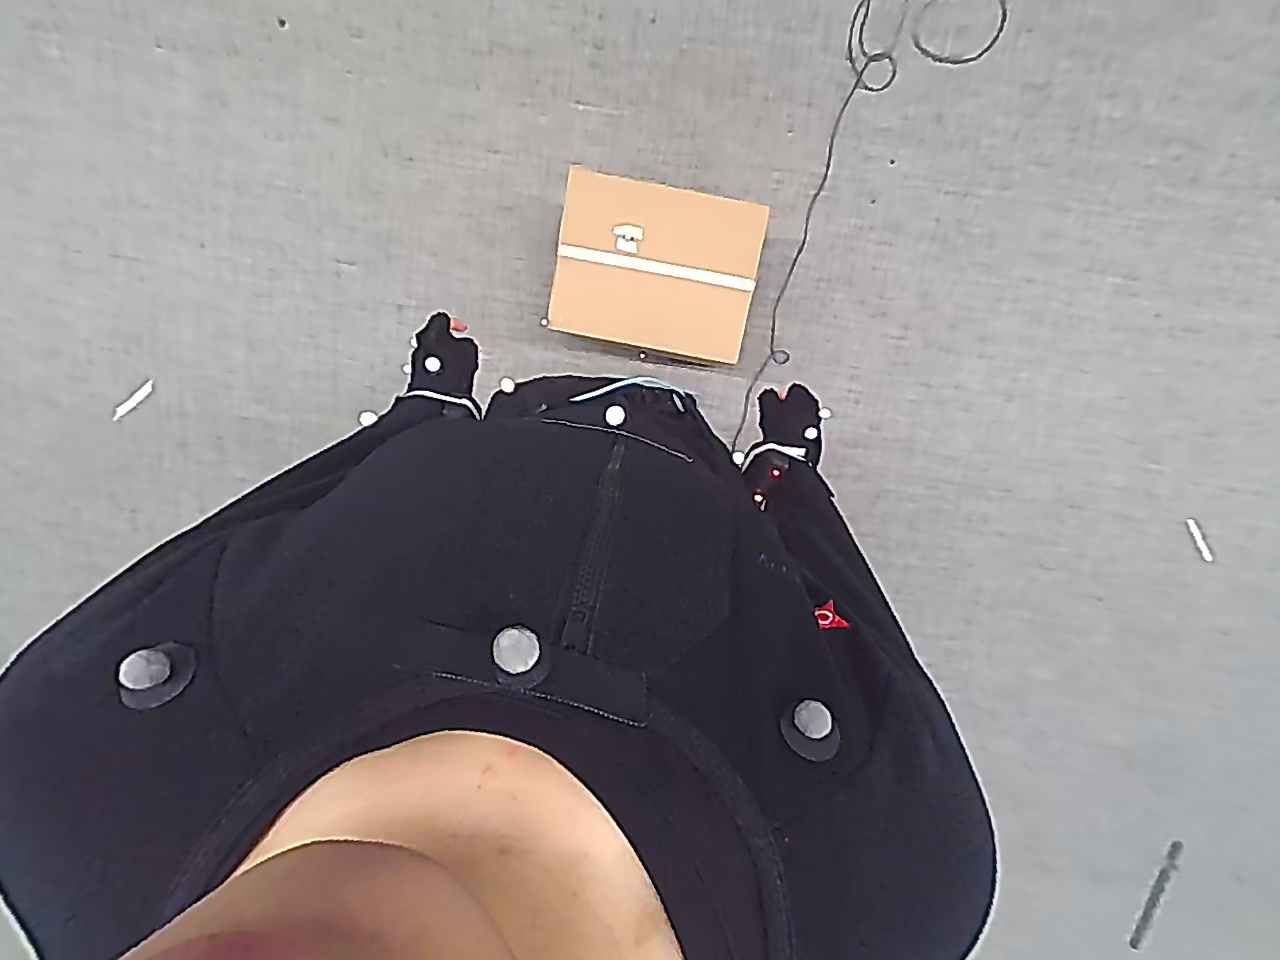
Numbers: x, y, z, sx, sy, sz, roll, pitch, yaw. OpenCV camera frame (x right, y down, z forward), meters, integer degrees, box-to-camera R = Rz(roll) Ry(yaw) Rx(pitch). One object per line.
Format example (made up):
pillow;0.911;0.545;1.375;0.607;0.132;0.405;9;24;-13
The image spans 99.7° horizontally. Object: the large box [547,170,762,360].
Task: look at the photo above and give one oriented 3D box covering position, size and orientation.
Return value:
large box;0.032;-0.463;1.245;0.408;0.320;0.320;11;101;0
